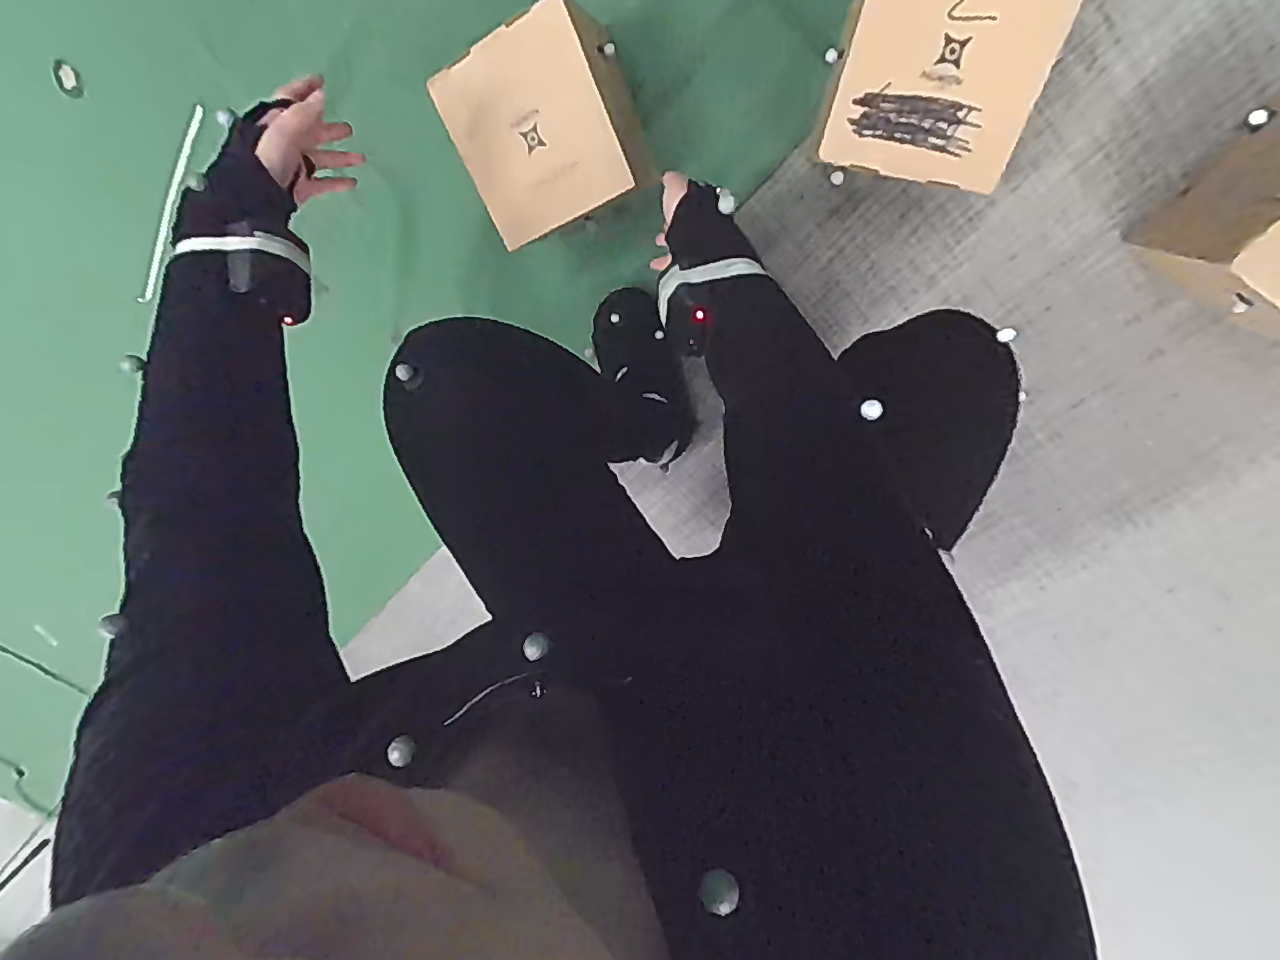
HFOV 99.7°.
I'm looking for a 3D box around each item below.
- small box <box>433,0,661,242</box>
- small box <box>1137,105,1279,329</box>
[{"bbox_3d":[-0.091,-0.398,0.619,0.168,0.176,0.179,-16,115,22],"label":"small box"},{"bbox_3d":[0.657,-0.253,0.524,0.179,0.176,0.168,31,123,-7],"label":"small box"}]
